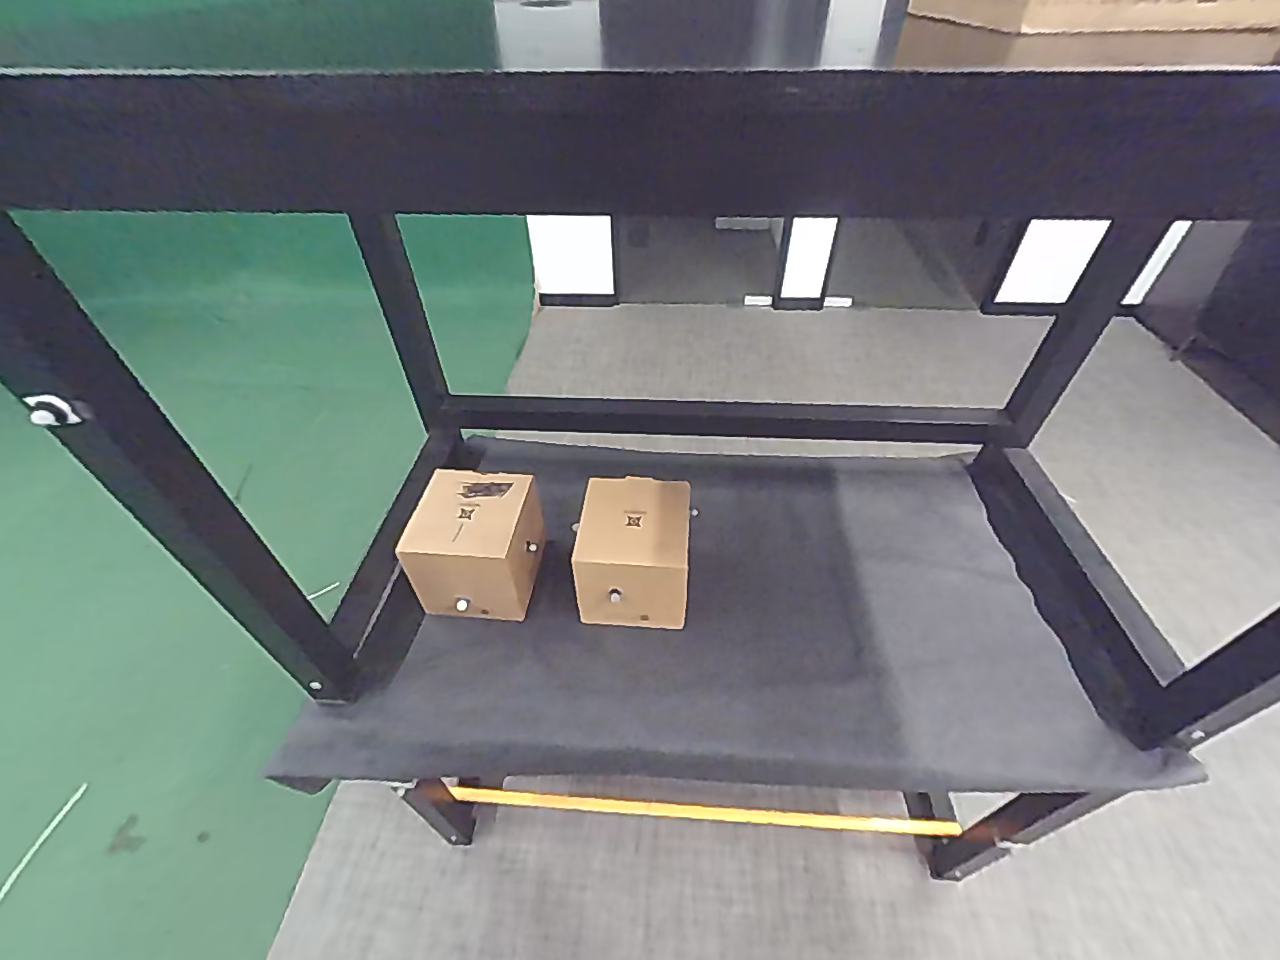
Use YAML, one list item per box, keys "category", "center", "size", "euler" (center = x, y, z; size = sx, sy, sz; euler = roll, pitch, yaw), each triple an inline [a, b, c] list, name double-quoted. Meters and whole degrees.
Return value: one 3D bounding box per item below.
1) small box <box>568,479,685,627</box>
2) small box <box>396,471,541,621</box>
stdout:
- category: "small box"
  center: [-0.012, 0.119, 0.874]
  size: [0.168, 0.176, 0.179]
  euler: [3, 44, 3]
- category: "small box"
  center: [-0.265, 0.107, 0.886]
  size: [0.168, 0.176, 0.179]
  euler: [3, 44, 4]
